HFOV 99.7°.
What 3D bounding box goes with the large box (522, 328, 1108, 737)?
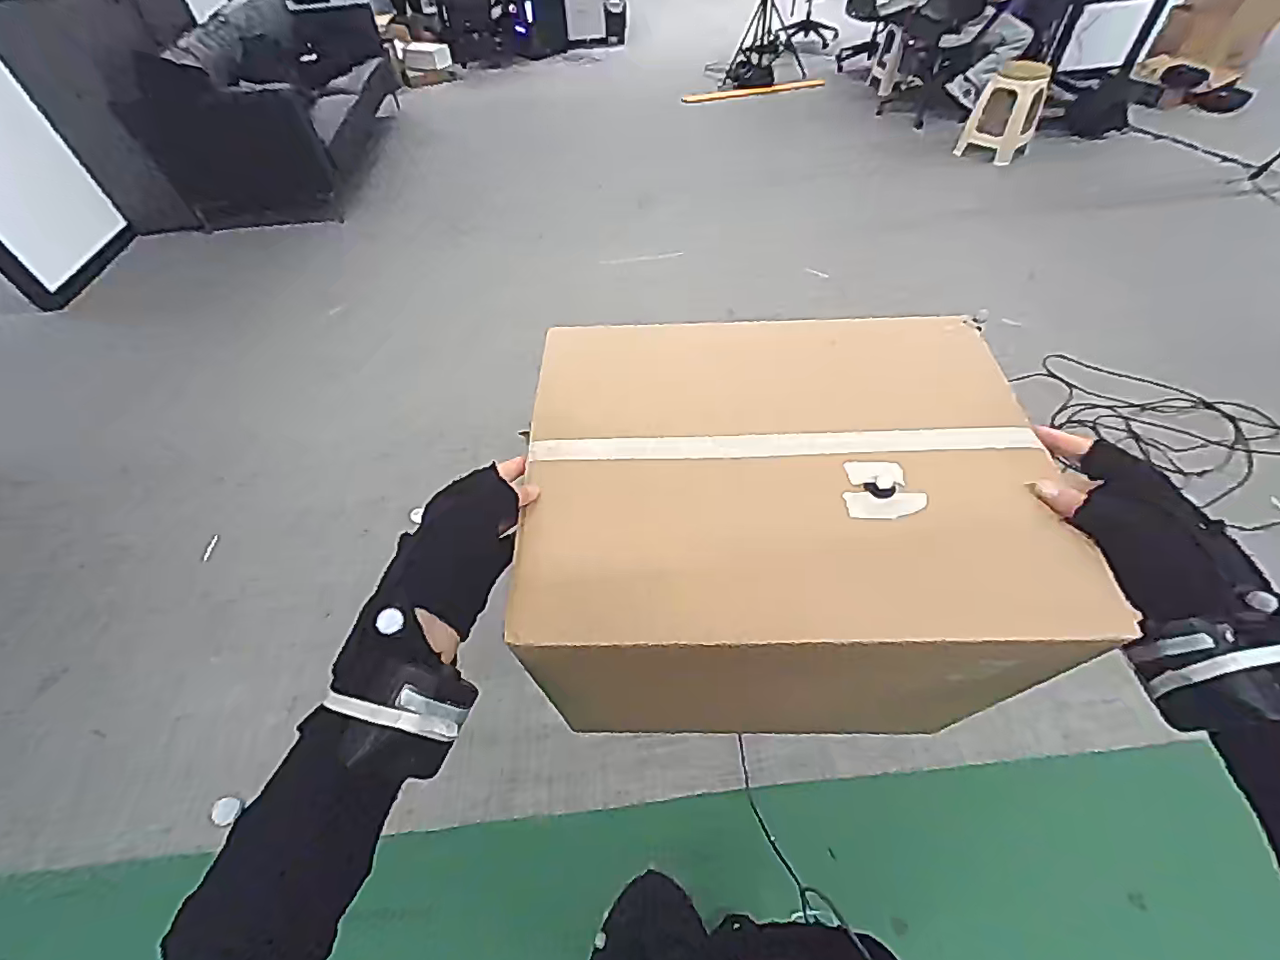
[{"bbox_3d":[0.118,0.070,0.569,0.408,0.320,0.320,-2,55,2],"label":"large box"}]
